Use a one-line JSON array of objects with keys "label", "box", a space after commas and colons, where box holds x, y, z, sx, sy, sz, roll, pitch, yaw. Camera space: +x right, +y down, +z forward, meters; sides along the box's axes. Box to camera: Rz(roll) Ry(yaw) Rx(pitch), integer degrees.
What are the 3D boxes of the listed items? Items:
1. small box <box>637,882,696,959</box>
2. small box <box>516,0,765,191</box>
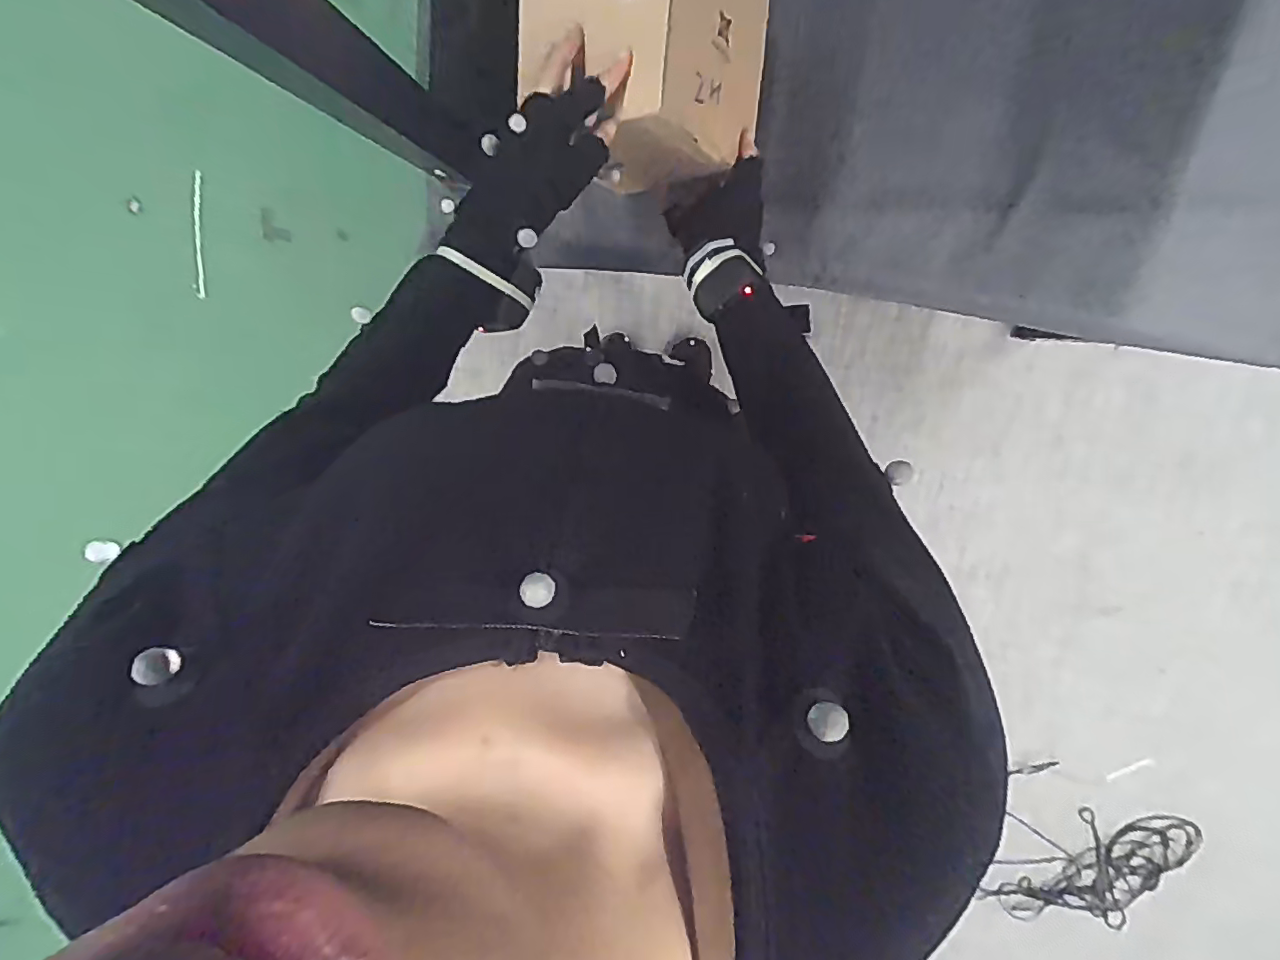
[{"label": "small box", "box": [0.092, 1.515, 1.823, 0.168, 0.176, 0.179, 12, 105, 1]}, {"label": "small box", "box": [0.000, -0.393, 0.507, 0.176, 0.168, 0.179, 14, 106, 33]}]
